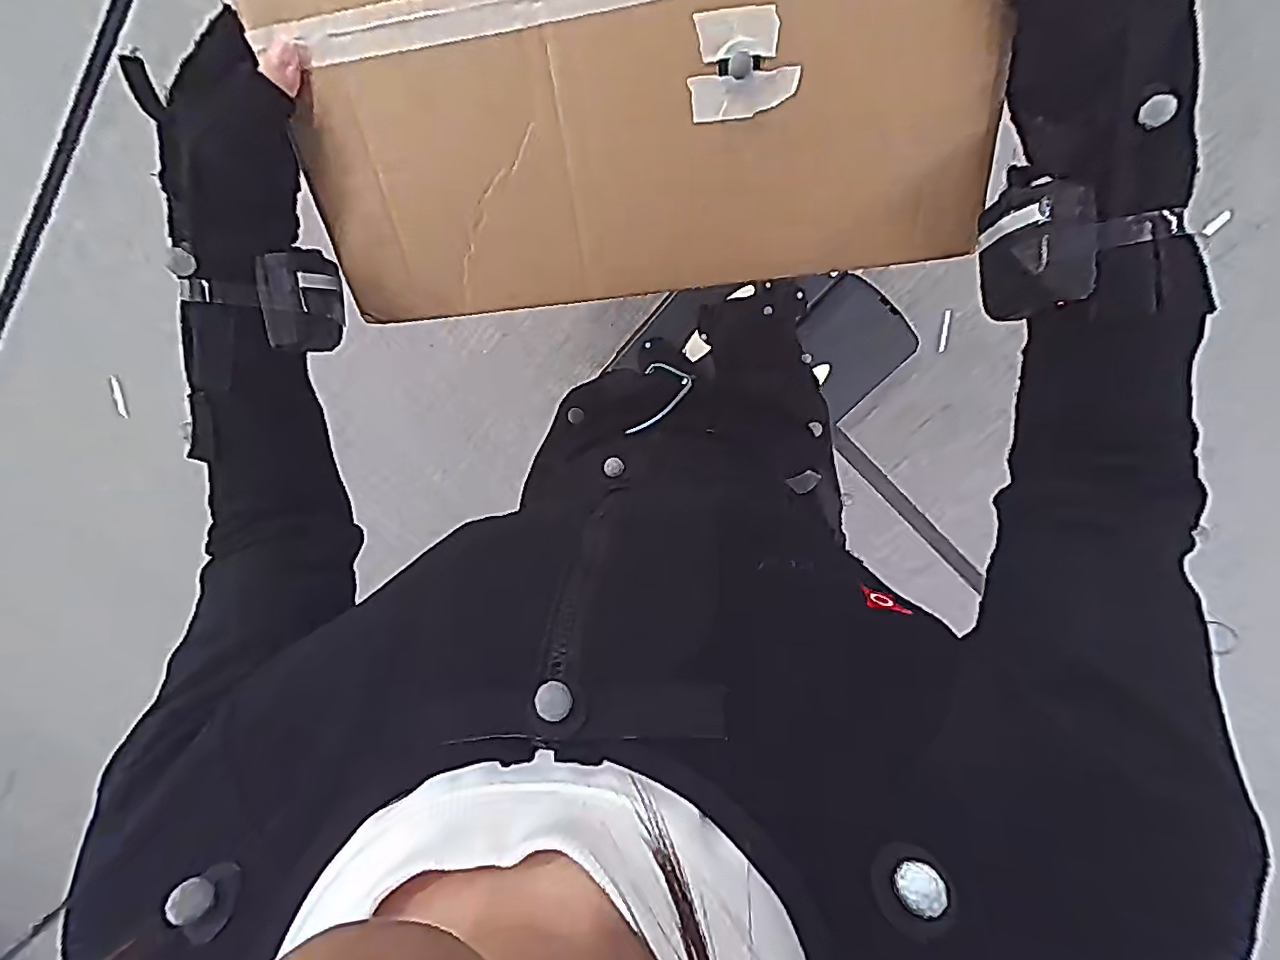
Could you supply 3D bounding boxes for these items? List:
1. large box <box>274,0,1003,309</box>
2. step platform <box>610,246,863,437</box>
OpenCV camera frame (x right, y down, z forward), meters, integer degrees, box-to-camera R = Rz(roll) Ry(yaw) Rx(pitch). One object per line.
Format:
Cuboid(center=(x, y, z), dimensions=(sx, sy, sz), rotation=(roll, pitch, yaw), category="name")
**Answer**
Cuboid(center=(0.000, -0.346, 0.416), dimensions=(0.408, 0.320, 0.320), rotation=(-4, 122, 8), category="large box")
Cuboid(center=(0.227, -0.436, 1.398), dimensions=(0.286, 0.204, 0.684), rotation=(41, 107, -8), category="step platform")
